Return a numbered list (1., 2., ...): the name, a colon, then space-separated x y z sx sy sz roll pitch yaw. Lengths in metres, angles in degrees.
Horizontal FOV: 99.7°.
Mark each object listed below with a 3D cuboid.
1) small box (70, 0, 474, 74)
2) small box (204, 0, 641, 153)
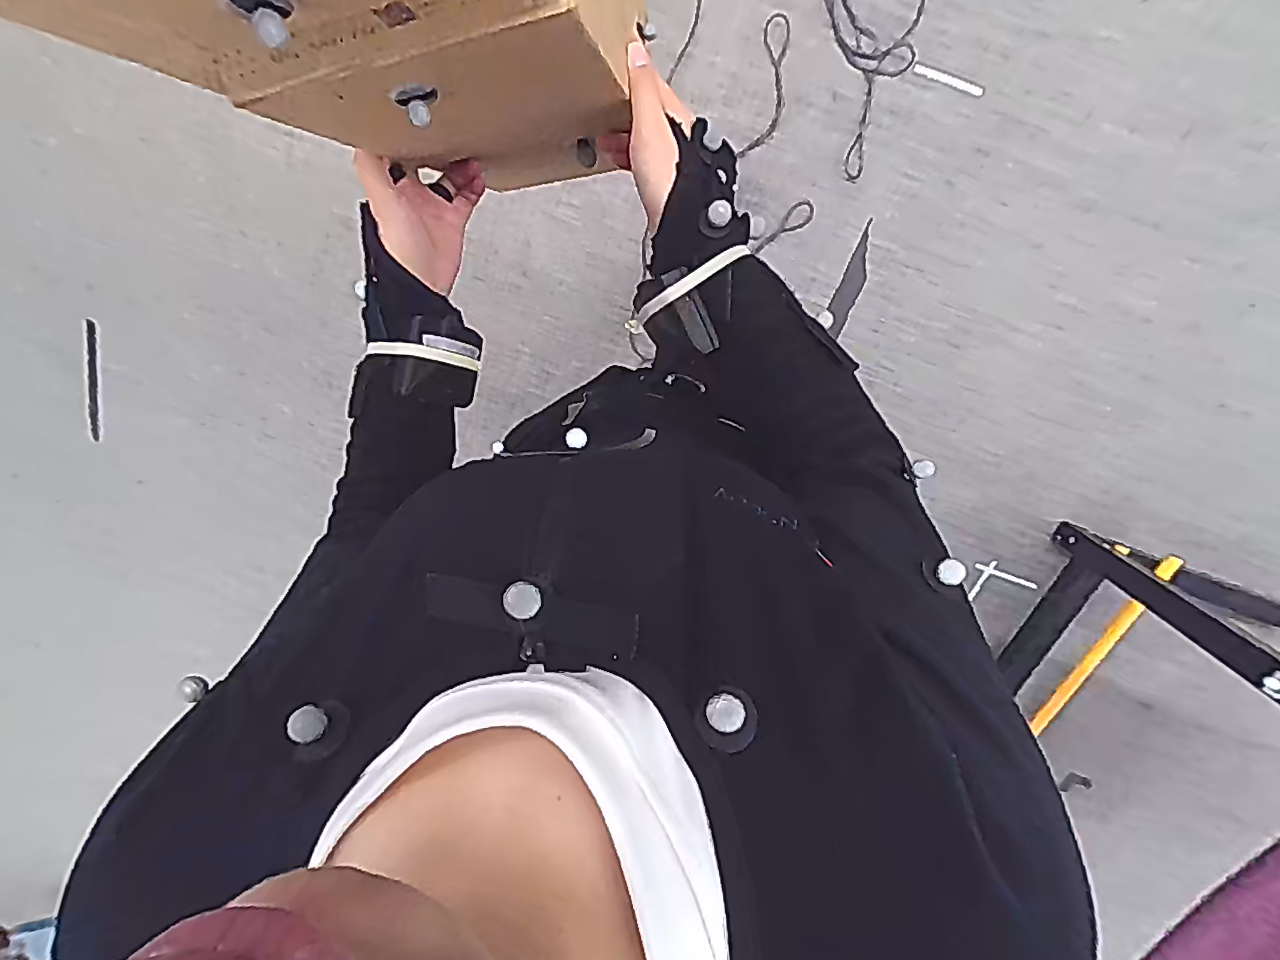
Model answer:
1. small box: -0.138 -0.241 0.126 0.168 0.176 0.179 -6 110 13
2. small box: -0.107 -0.289 0.278 0.179 0.176 0.168 -5 110 12
